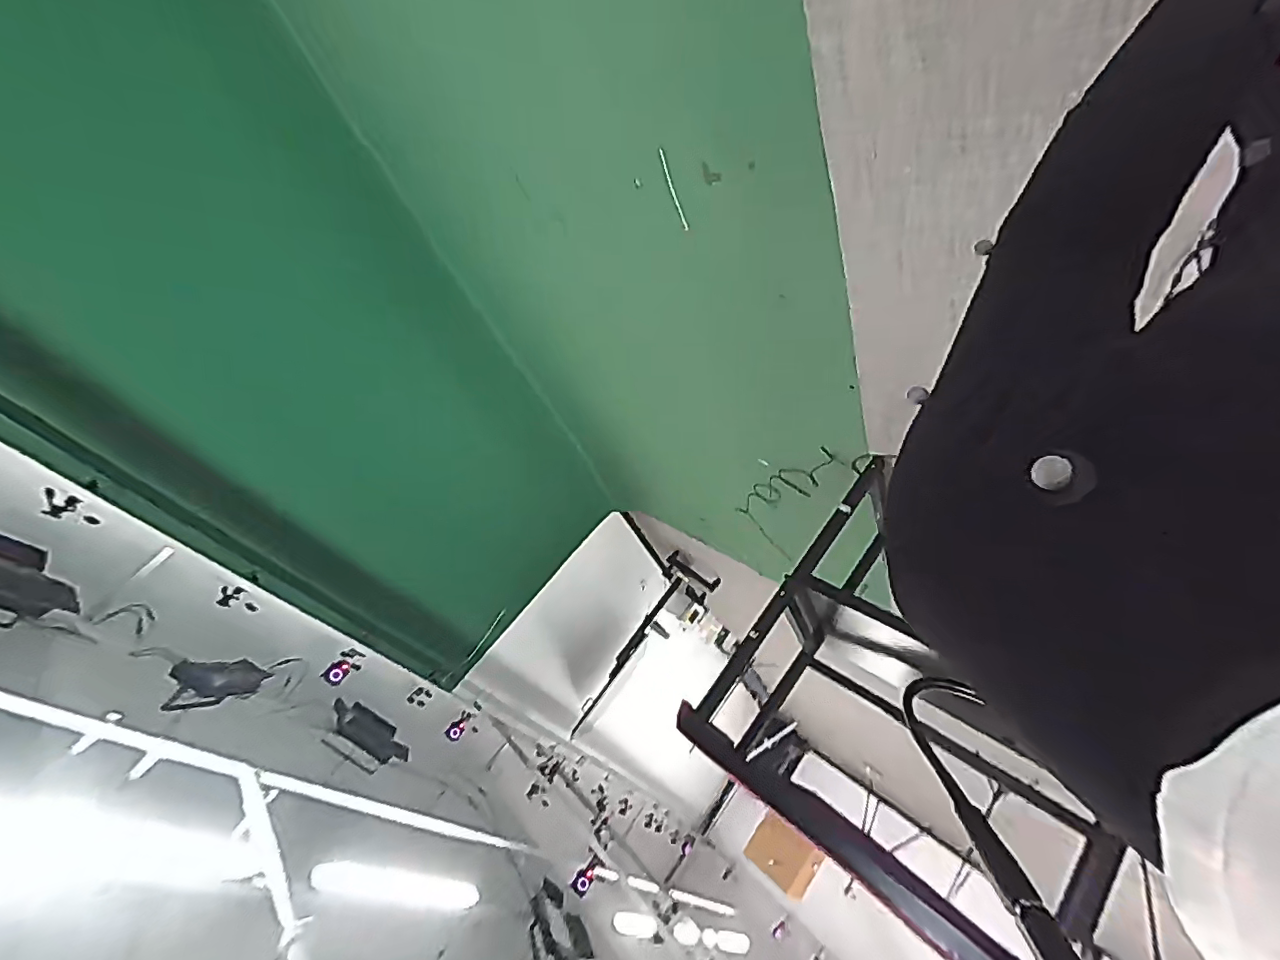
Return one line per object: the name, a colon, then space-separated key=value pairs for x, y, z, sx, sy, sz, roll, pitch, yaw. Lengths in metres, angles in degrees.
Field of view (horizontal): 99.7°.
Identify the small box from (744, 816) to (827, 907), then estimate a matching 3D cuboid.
small box: x=0.471 y=1.221 z=1.746 sx=0.179 sy=0.176 sz=0.168 roll=20 pitch=154 yaw=45
